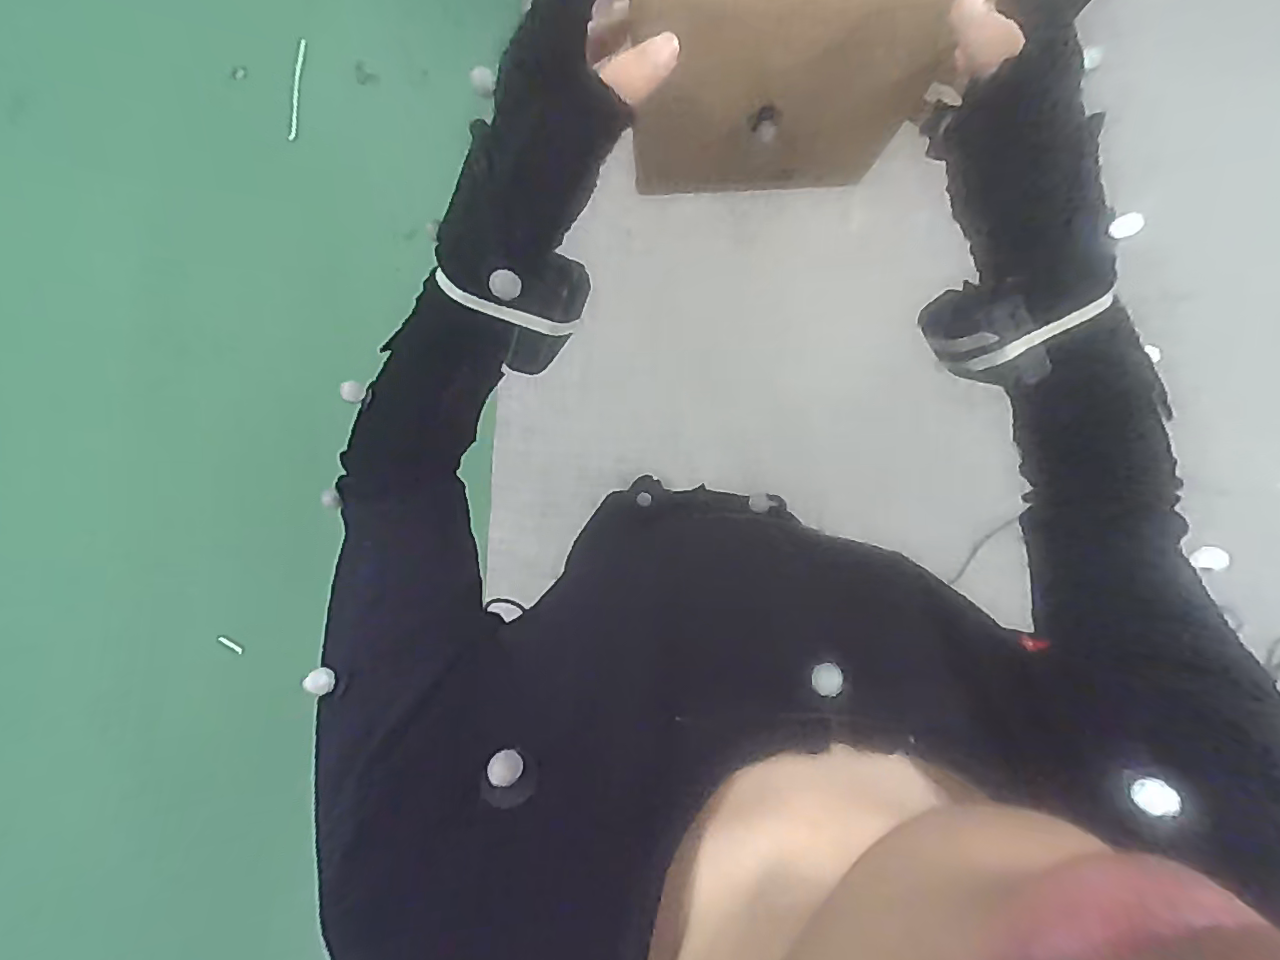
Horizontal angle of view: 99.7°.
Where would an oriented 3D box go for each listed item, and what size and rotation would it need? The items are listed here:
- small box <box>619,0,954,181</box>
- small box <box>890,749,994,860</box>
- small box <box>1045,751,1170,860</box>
[{"bbox_3d":[0.071,-0.302,0.318,0.168,0.176,0.179,-2,88,0],"label":"small box"},{"bbox_3d":[0.737,0.788,1.333,0.168,0.176,0.179,6,85,1],"label":"small box"},{"bbox_3d":[1.140,0.794,1.330,0.168,0.176,0.179,1,84,0],"label":"small box"}]
